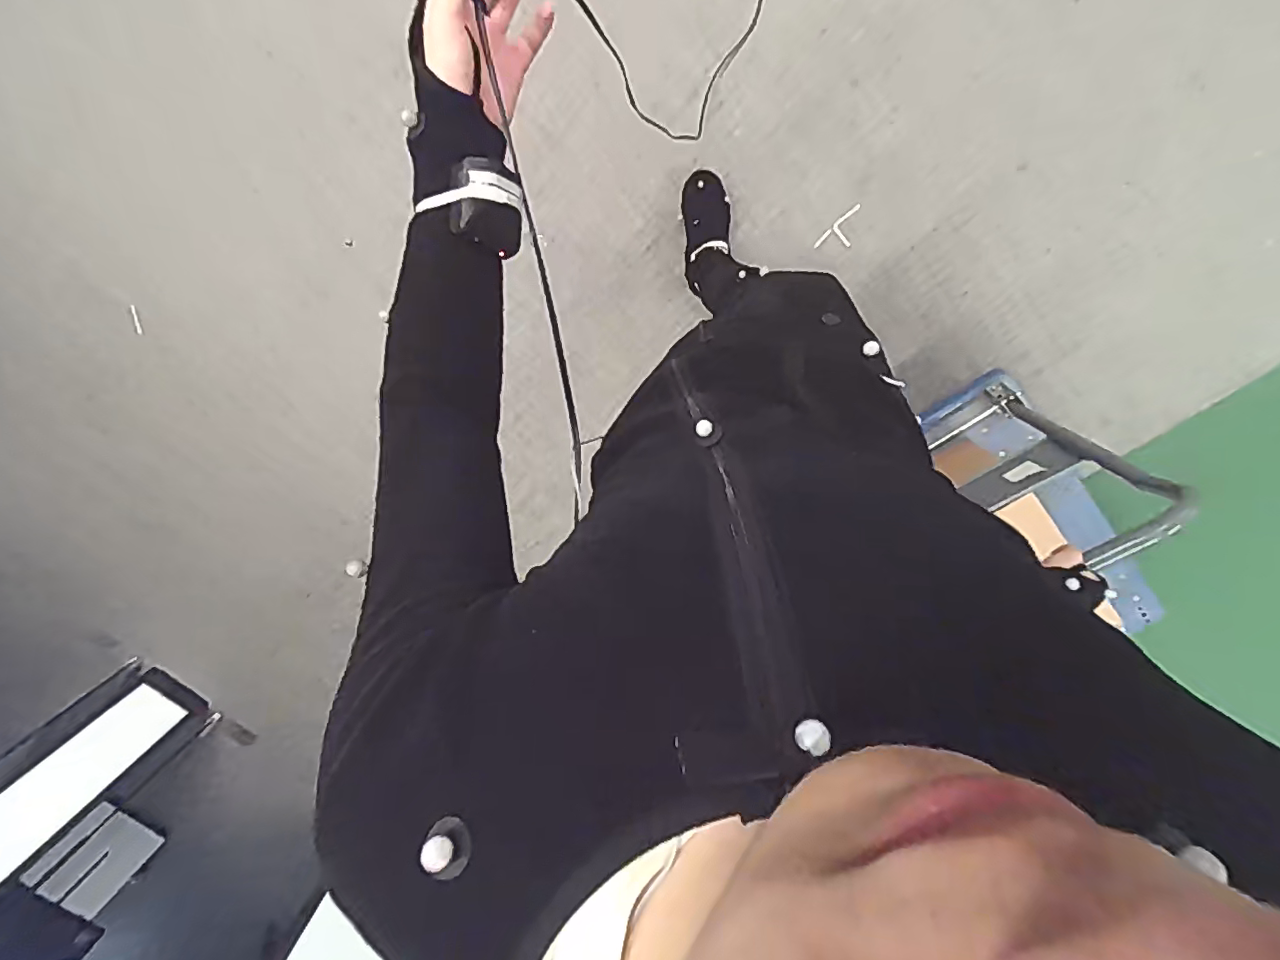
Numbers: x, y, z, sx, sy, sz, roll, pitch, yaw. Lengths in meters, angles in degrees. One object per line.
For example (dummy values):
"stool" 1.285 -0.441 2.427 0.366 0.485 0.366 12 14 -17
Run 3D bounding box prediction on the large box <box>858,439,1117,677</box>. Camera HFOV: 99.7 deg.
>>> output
"large box" 0.801 0.178 1.303 0.320 0.320 0.408 -37 104 22
